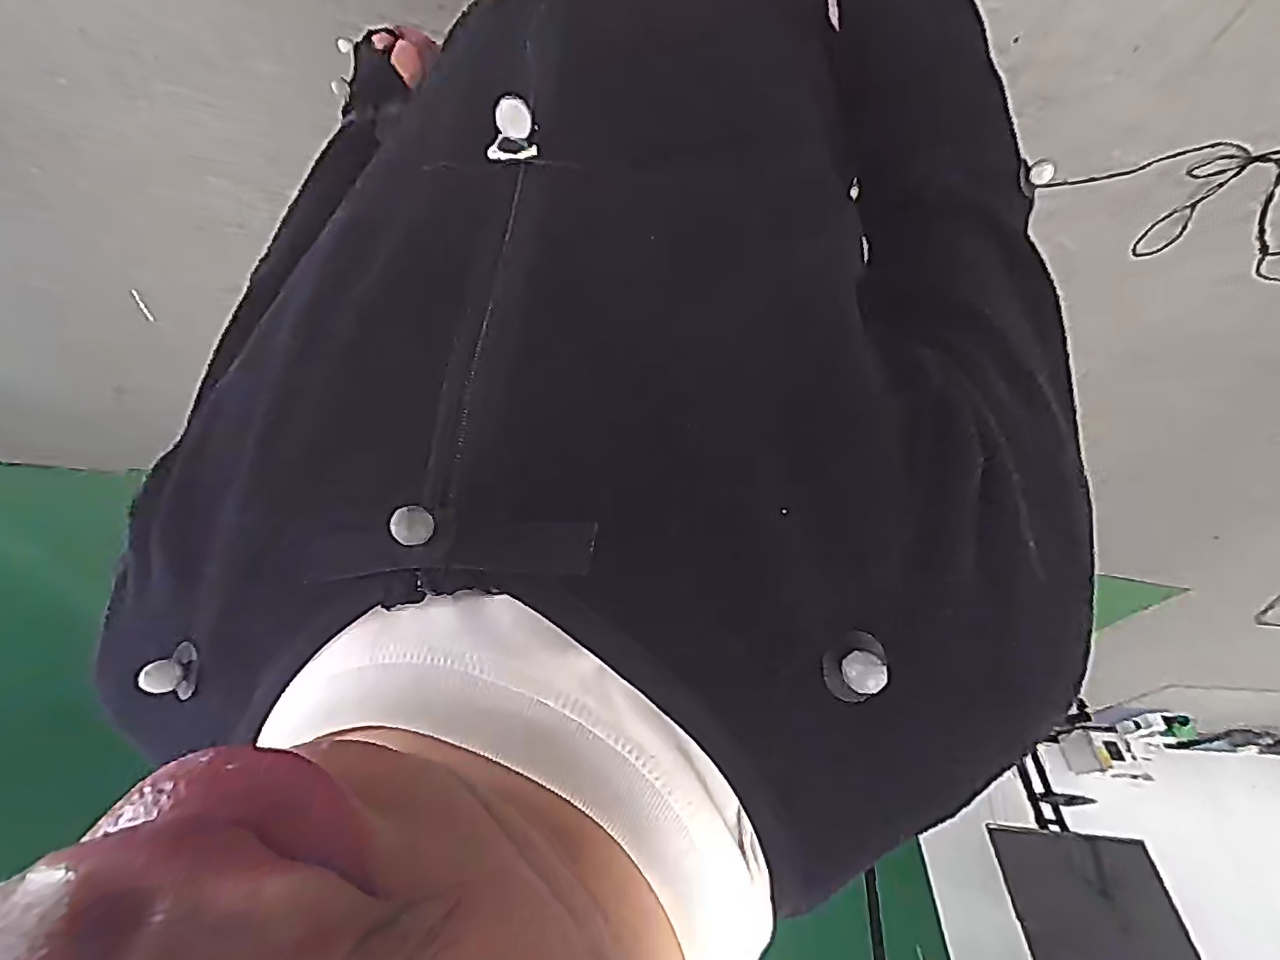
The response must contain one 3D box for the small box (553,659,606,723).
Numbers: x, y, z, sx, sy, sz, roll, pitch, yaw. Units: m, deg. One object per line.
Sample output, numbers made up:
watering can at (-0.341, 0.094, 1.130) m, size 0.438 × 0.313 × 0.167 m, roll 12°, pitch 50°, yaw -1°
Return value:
small box at (-0.208, 0.734, 1.882) m, size 0.168 × 0.176 × 0.179 m, roll 3°, pitch 142°, yaw -1°
